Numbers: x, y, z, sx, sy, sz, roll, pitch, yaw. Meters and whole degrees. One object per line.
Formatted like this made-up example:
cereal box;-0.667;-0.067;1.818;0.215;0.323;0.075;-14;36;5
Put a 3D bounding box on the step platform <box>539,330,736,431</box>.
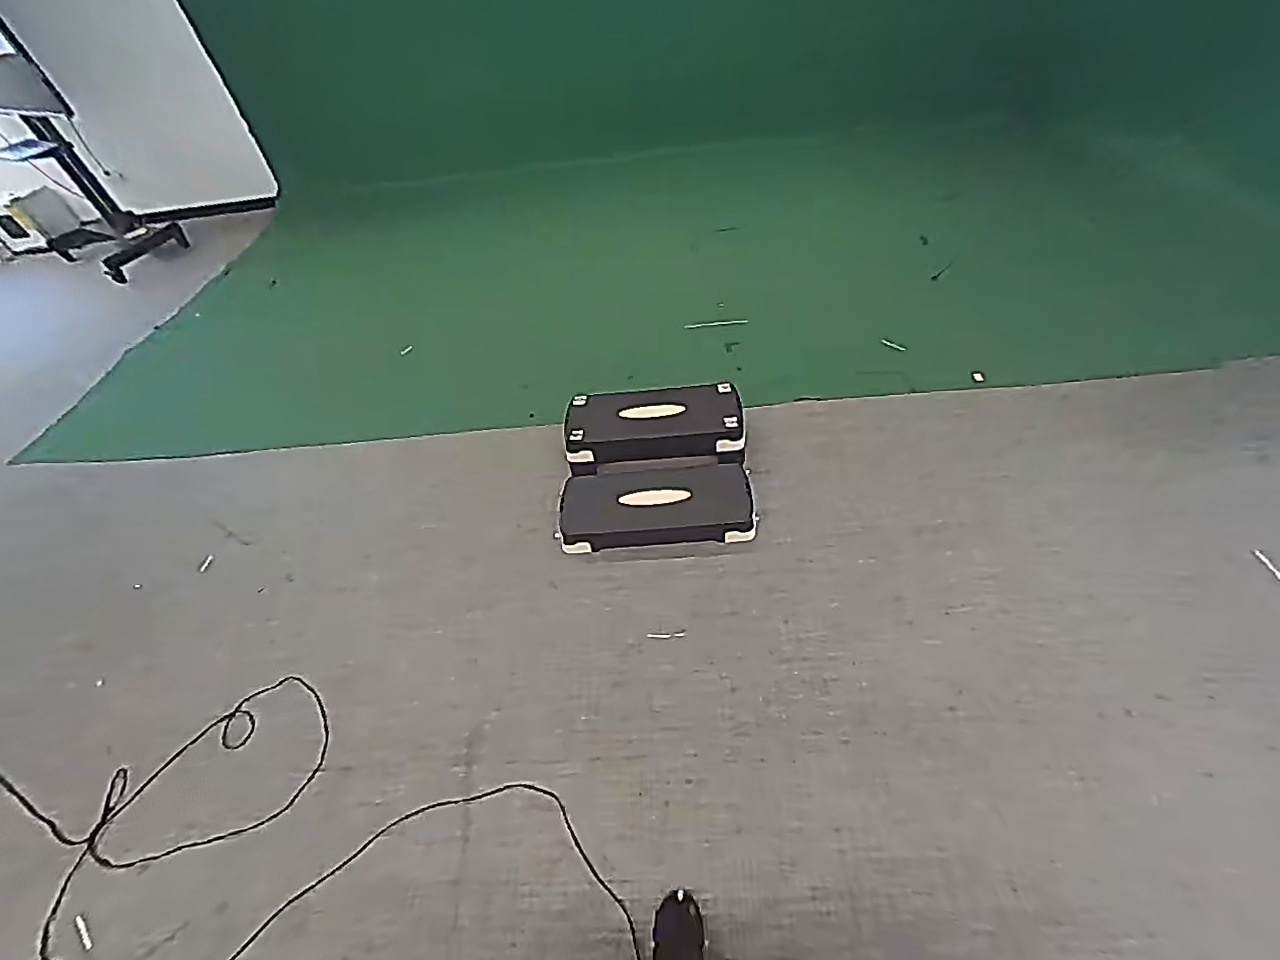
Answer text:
step platform;-0.005;-0.356;1.946;0.684;0.204;0.286;-5;48;5
